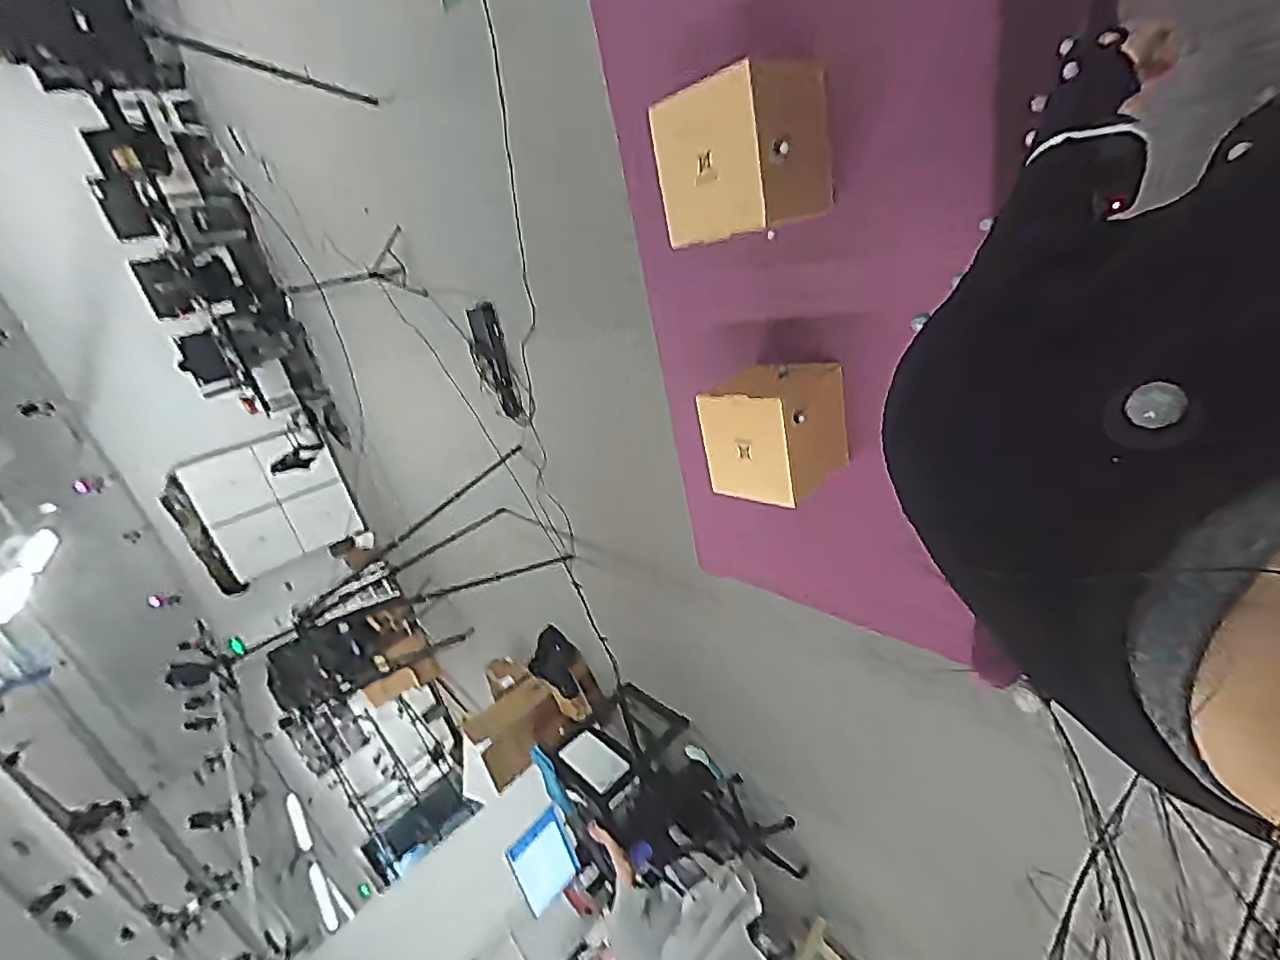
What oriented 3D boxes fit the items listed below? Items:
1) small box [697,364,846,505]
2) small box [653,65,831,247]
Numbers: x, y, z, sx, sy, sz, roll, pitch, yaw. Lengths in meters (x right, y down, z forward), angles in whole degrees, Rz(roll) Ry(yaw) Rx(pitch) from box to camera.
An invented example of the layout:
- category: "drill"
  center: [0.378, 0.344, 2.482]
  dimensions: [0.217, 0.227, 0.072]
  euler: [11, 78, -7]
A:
- category: "small box"
  center: [0.223, -0.083, 0.894]
  dimensions: [0.168, 0.176, 0.179]
  euler: [11, 121, 48]
- category: "small box"
  center: [0.146, -0.435, 0.742]
  dimensions: [0.168, 0.176, 0.179]
  euler: [13, 123, 46]
